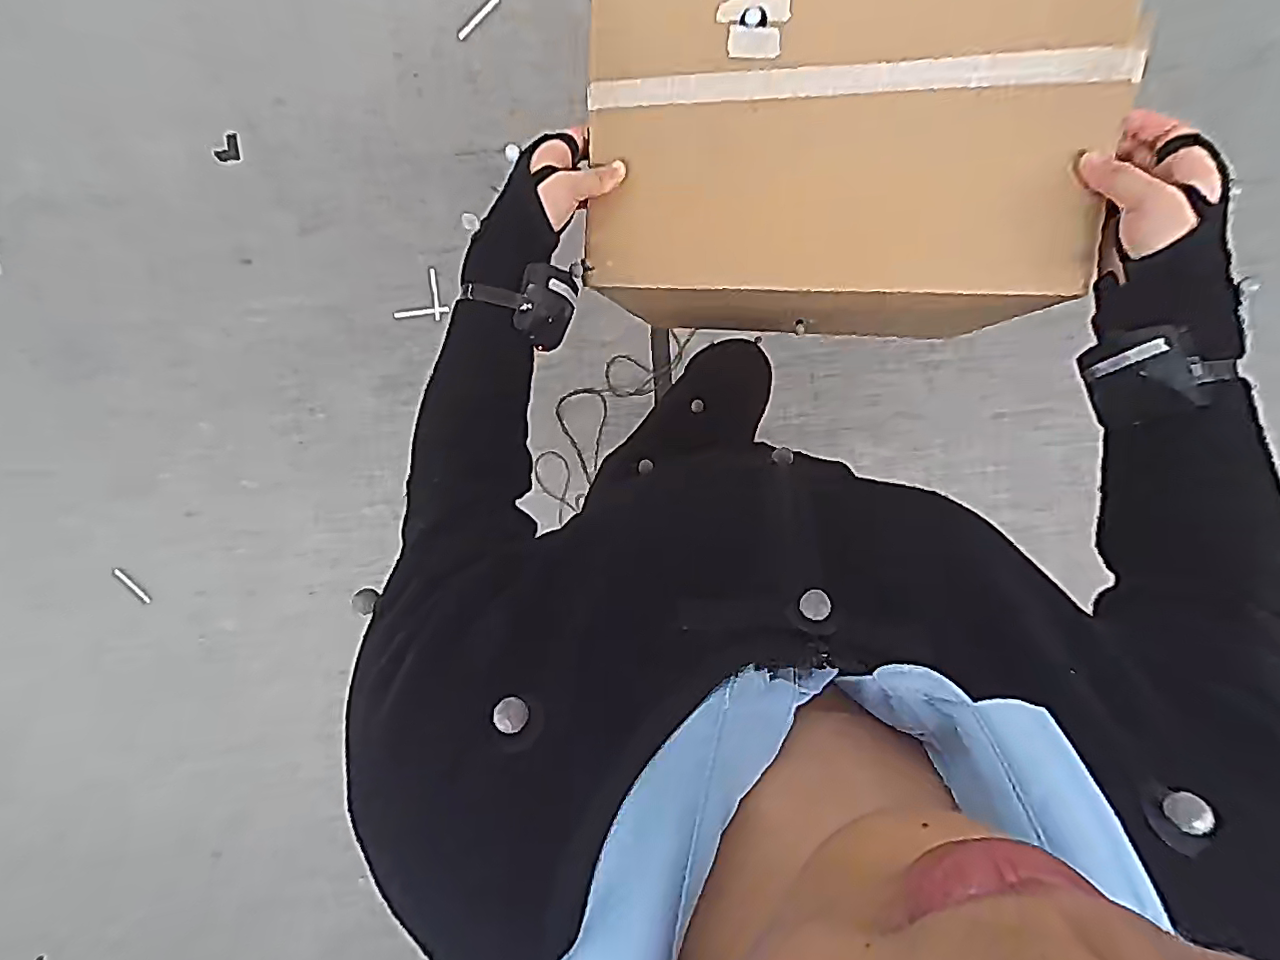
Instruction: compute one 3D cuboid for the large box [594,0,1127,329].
[{"bbox_3d":[0.192,-0.338,0.582,0.408,0.320,0.320,5,98,13],"label":"large box"}]
